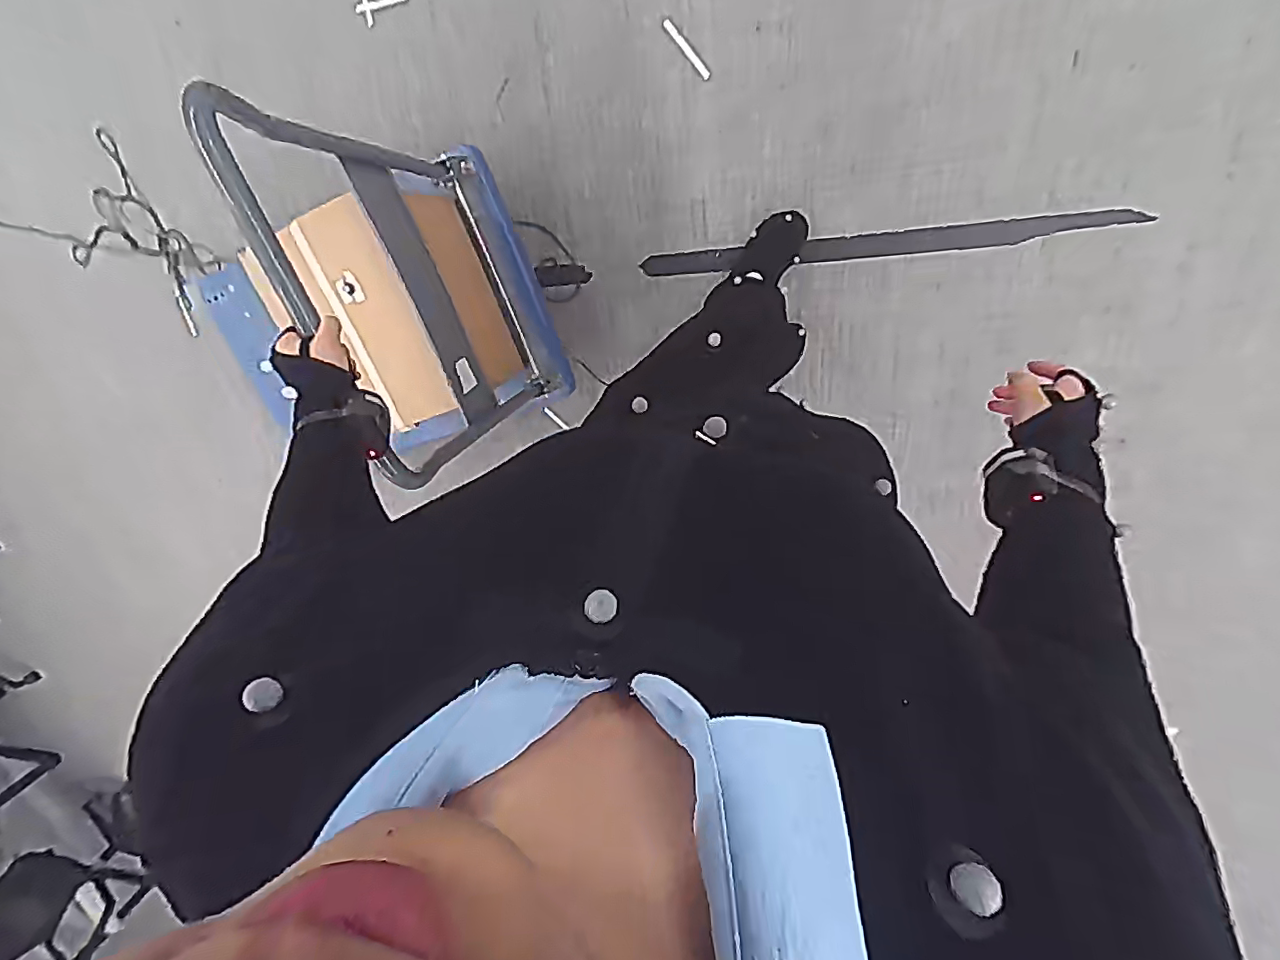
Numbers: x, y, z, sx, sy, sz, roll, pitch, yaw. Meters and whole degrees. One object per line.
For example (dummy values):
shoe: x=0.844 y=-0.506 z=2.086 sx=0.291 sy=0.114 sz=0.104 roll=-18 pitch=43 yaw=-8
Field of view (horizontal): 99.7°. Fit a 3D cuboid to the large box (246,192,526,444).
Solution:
large box: x=-0.510 y=-0.342 z=1.169 sx=0.320 sy=0.320 sz=0.408 roll=-15 pitch=109 yaw=18
